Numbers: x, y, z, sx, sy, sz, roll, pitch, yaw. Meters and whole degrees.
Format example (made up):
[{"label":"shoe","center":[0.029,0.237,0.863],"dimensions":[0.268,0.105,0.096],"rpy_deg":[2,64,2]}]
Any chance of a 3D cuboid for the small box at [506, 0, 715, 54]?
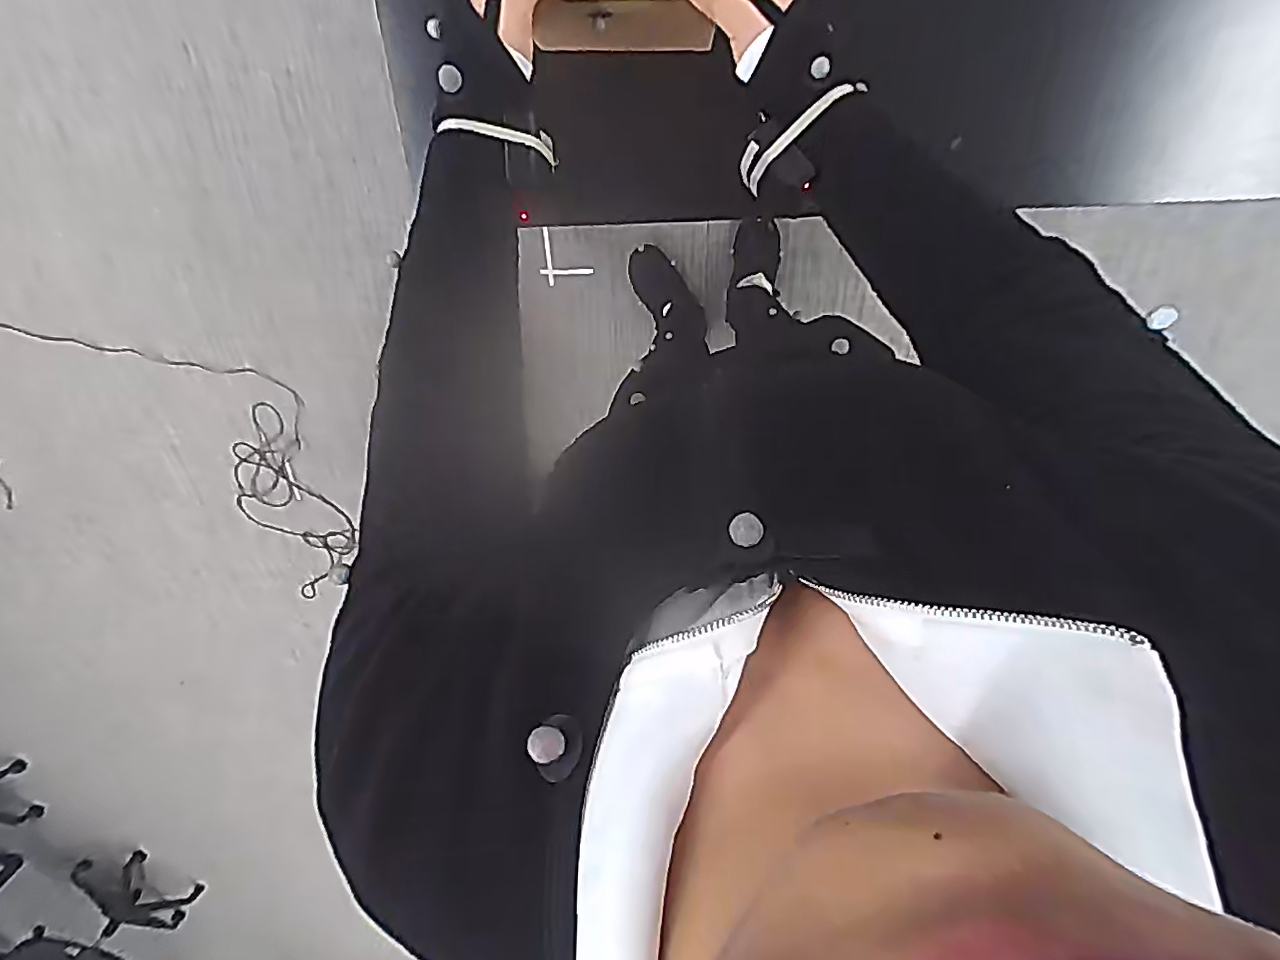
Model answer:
[{"label":"small box","center":[-0.019,-0.479,0.454],"dimensions":[0.179,0.176,0.168],"rpy_deg":[2,117,3]}]
